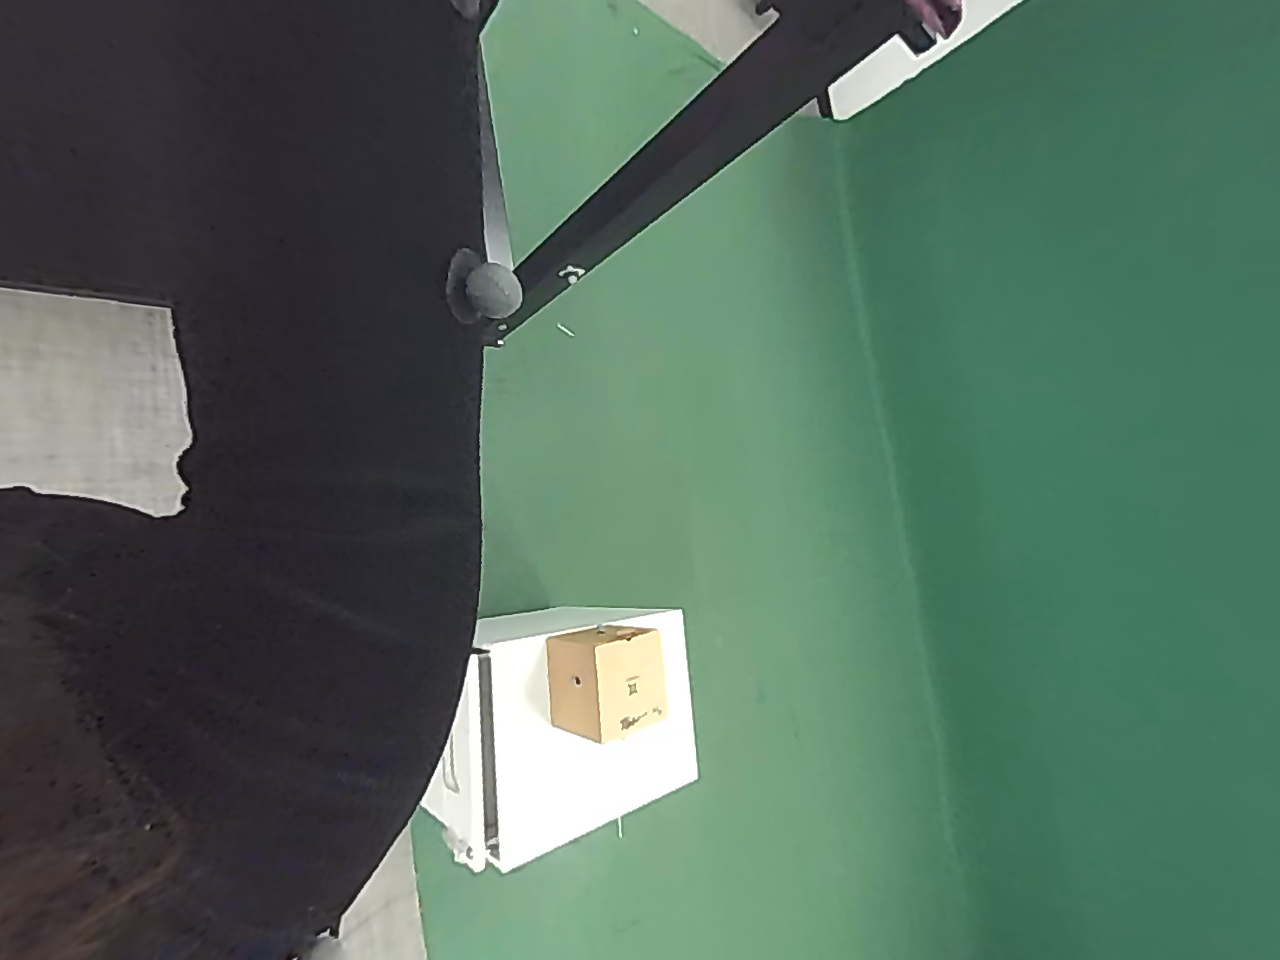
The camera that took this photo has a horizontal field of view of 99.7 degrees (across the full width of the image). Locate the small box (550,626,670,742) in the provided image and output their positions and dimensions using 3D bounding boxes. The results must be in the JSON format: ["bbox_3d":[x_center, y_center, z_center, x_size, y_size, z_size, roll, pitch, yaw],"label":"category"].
[{"bbox_3d":[-0.064,0.386,1.062,0.168,0.176,0.179,0,81,-41],"label":"small box"}]
